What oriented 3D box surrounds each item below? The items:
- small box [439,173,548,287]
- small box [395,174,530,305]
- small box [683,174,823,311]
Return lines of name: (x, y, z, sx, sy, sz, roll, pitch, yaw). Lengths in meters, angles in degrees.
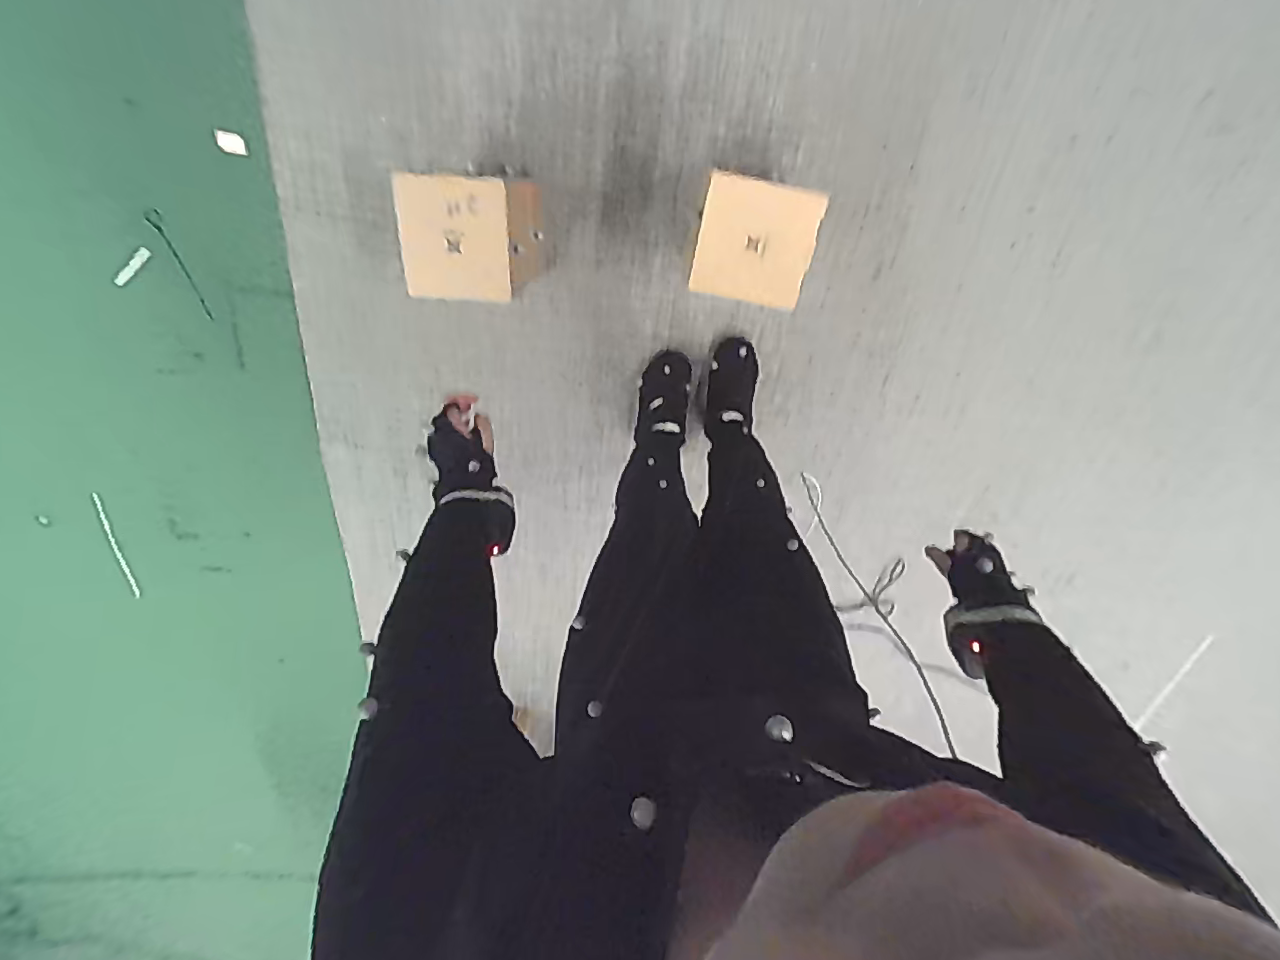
small box: (-0.274, -0.485, 1.045, 0.168, 0.176, 0.179, 5, 118, -1)
small box: (-0.282, -0.405, 0.902, 0.168, 0.176, 0.179, 4, 119, -1)
small box: (0.171, -0.390, 0.890, 0.179, 0.176, 0.168, 10, 118, -3)
